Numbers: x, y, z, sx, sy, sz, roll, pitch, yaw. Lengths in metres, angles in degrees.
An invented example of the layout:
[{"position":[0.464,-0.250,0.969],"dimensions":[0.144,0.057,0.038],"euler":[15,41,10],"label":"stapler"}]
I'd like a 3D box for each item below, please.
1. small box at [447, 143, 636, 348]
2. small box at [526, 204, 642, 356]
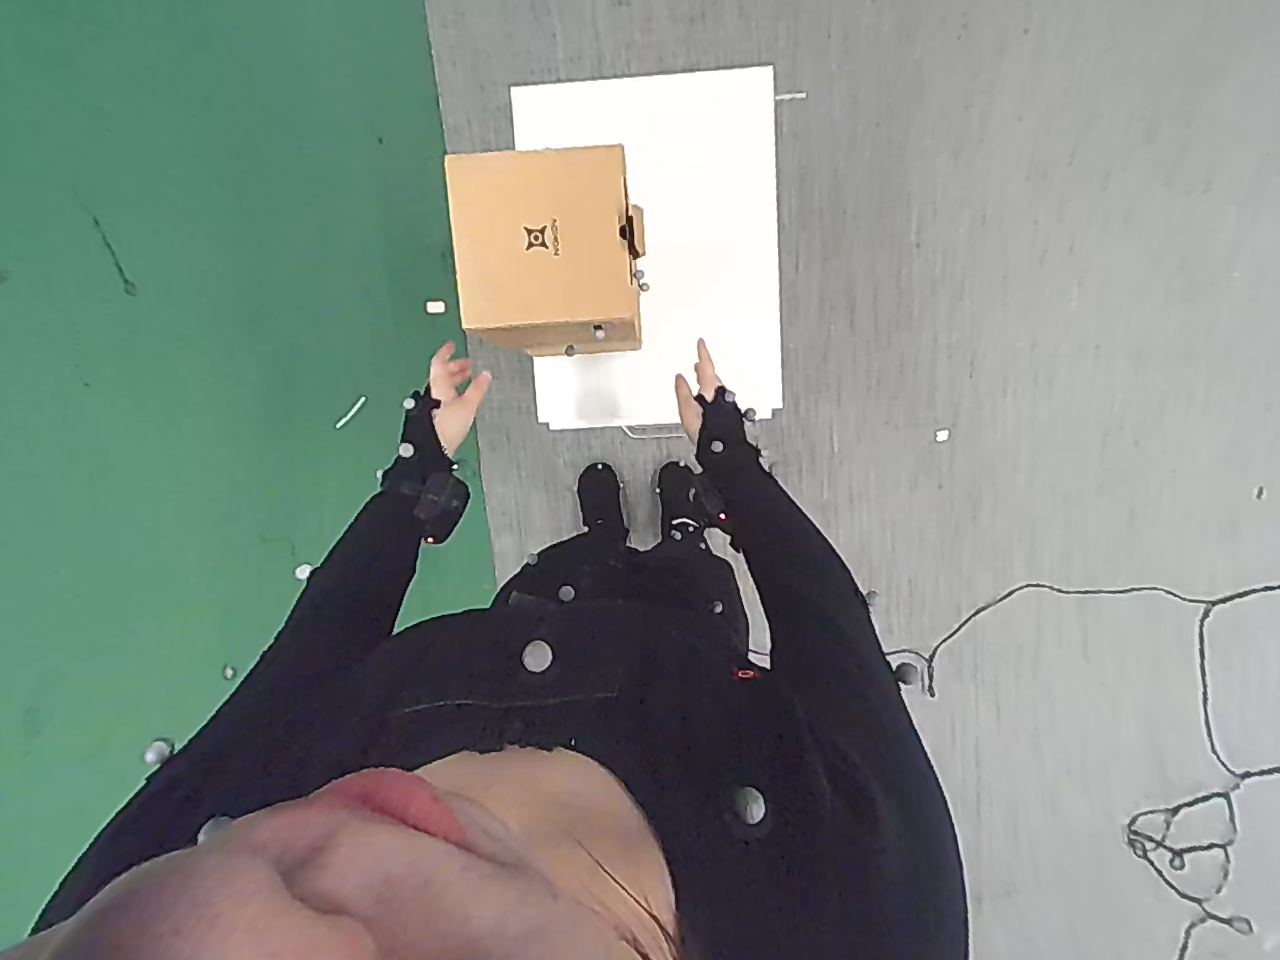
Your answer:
[{"position":[-0.096,-0.247,0.609],"dimensions":[0.179,0.176,0.168],"euler":[-4,96,0],"label":"small box"},{"position":[-0.091,-0.272,0.770],"dimensions":[0.179,0.176,0.168],"euler":[-4,97,1],"label":"small box"}]
